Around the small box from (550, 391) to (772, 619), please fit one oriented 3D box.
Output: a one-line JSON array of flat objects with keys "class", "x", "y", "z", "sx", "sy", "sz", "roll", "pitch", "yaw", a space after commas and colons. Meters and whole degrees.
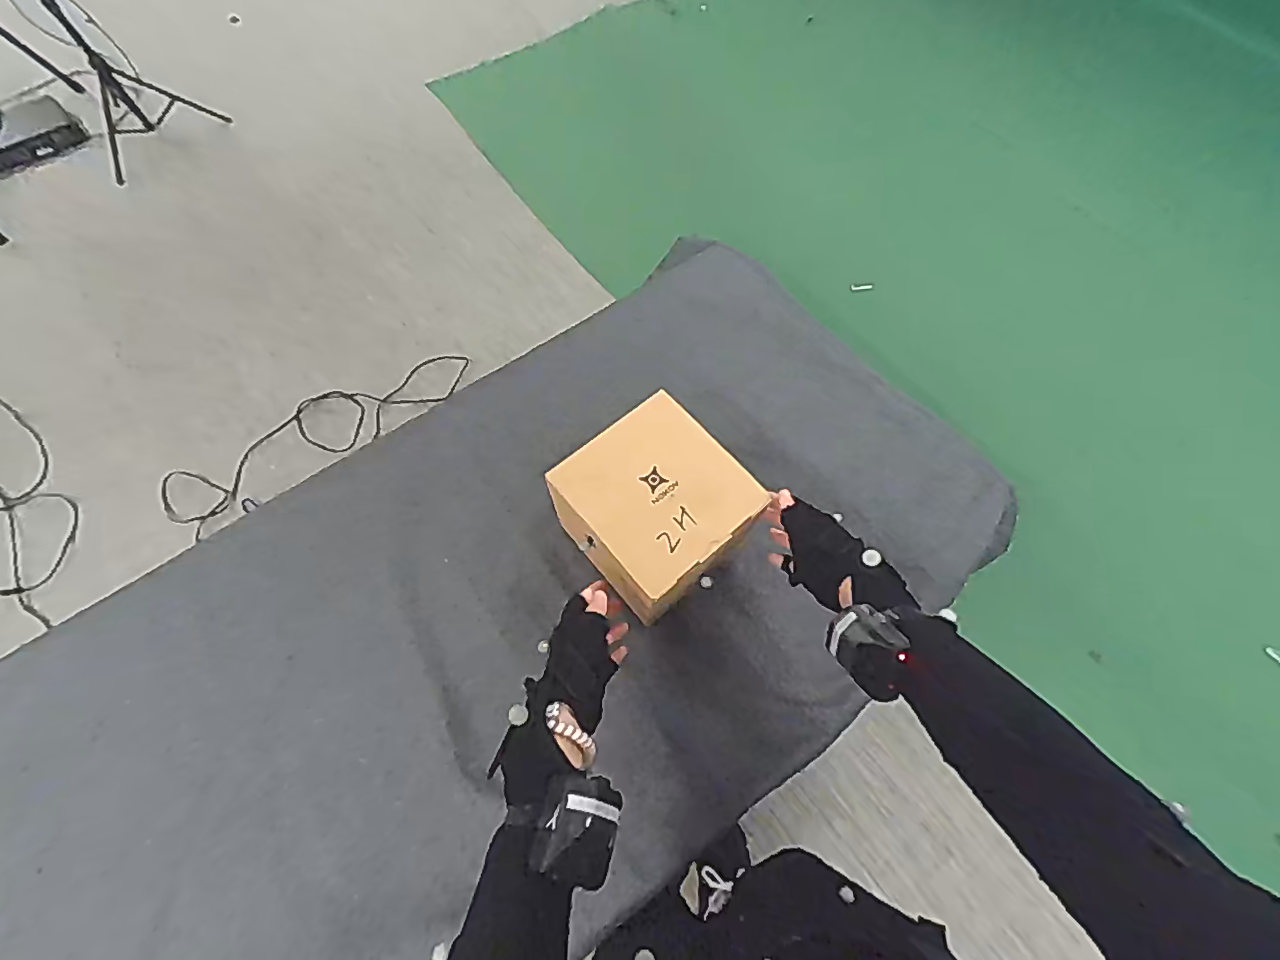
[{"class": "small box", "x": 0.019, "y": 0.038, "z": 0.630, "sx": 0.168, "sy": 0.176, "sz": 0.179, "roll": -38, "pitch": 72, "yaw": -16}]
